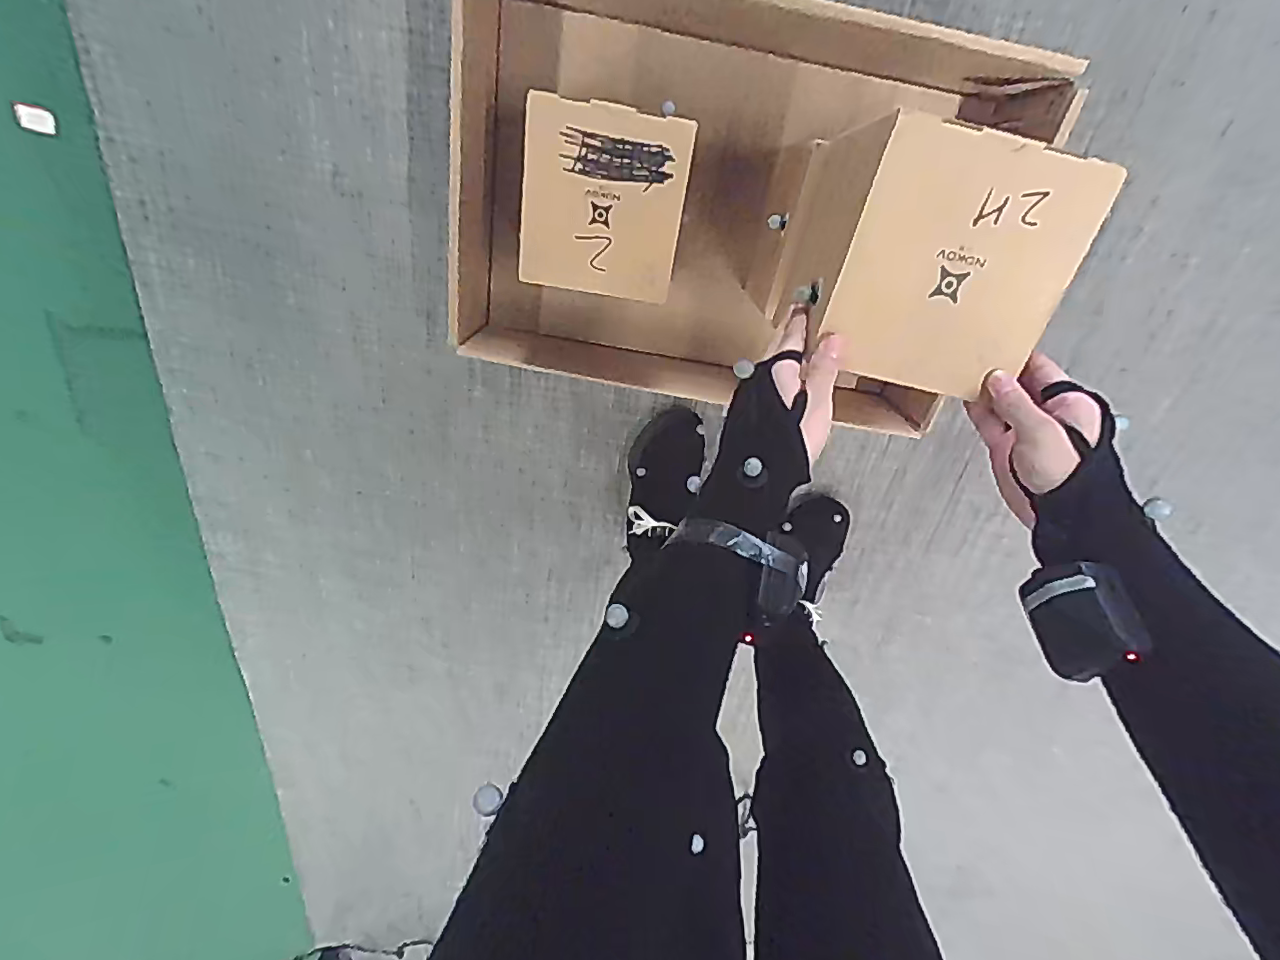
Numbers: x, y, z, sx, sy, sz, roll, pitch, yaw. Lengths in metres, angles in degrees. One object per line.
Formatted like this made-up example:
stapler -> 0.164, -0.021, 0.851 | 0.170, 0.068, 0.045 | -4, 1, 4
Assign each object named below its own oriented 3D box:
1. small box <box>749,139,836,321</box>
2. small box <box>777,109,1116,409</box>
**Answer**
small box -> 0.236, -0.280, 0.641 | 0.168, 0.176, 0.179 | 11, 118, -4
small box -> 0.230, -0.186, 0.470 | 0.168, 0.176, 0.179 | 13, 115, -3
